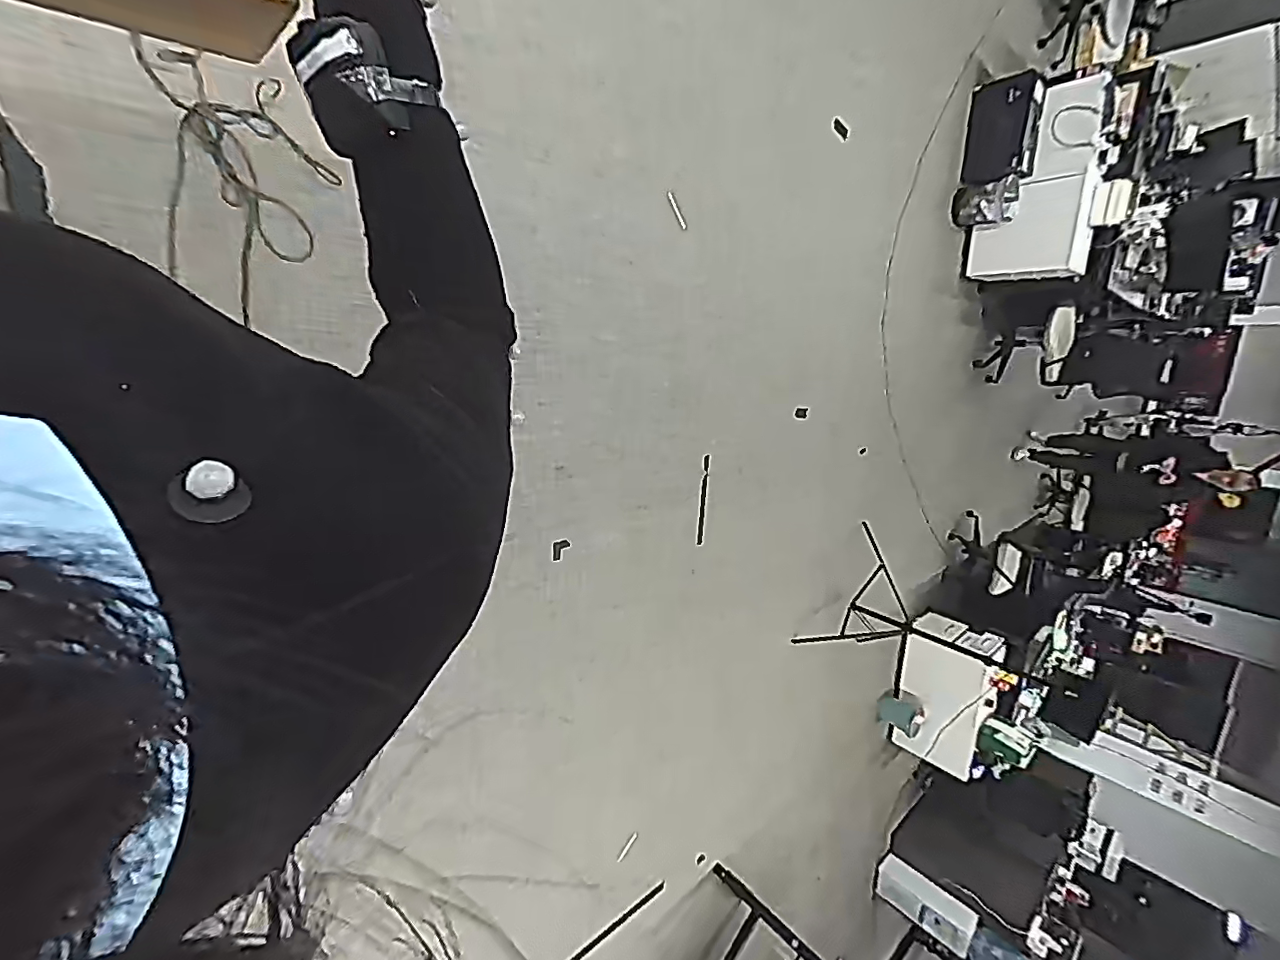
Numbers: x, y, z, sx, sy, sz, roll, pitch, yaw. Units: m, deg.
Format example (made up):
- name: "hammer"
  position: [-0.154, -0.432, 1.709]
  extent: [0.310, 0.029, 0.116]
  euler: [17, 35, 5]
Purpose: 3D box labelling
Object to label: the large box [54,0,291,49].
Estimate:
- name: "large box"
  position: [-0.457, -0.496, 0.295]
  extent: [0.408, 0.320, 0.320]
  euler: [-10, 120, -36]
